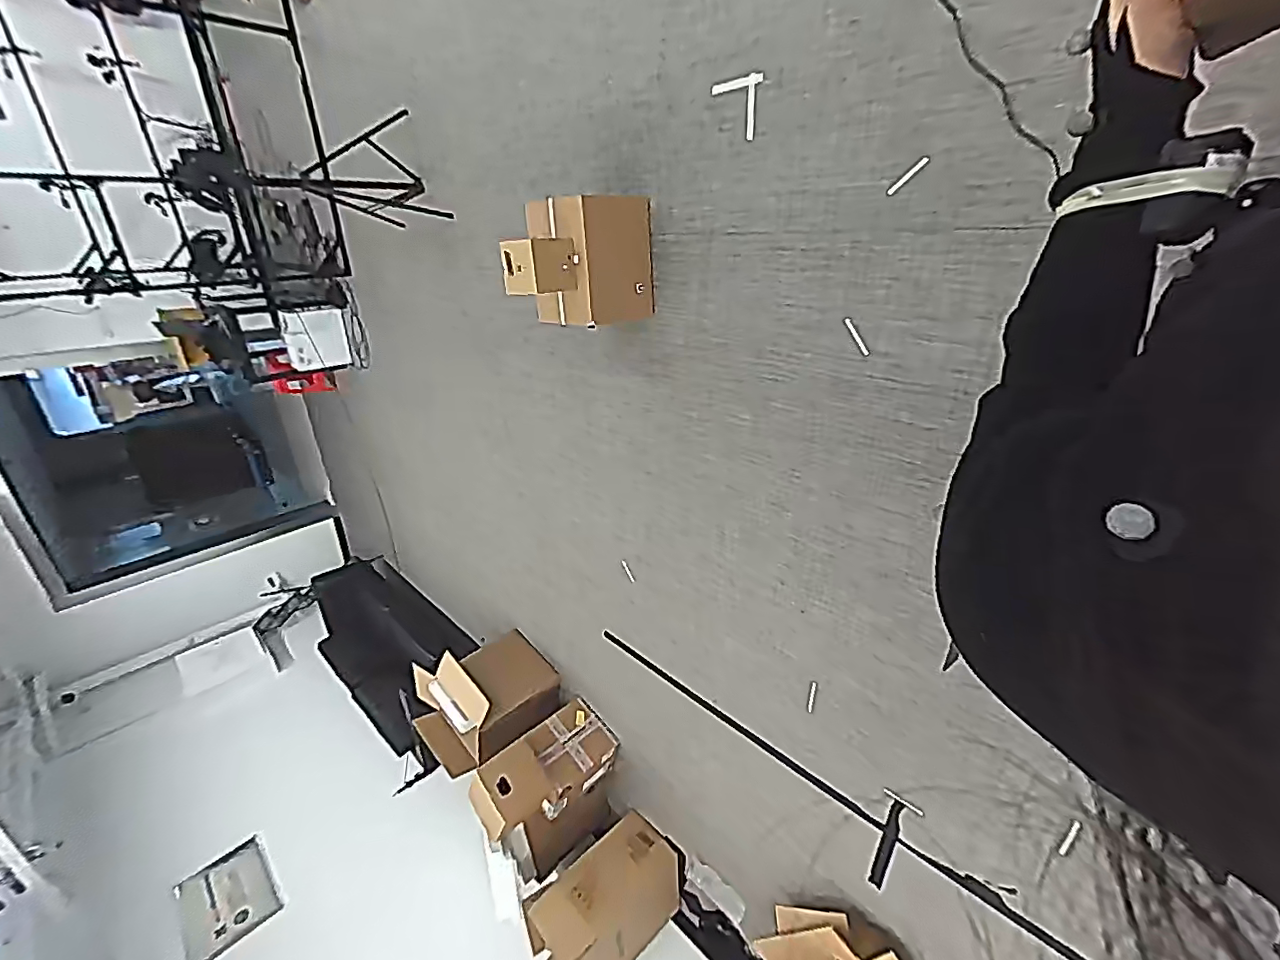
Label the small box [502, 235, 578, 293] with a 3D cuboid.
[{"bbox_3d":[-0.328,-0.714,1.784,0.179,0.176,0.168,18,122,41],"label":"small box"}]

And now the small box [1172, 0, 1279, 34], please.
[{"bbox_3d":[0.364,-0.365,0.261,0.168,0.176,0.179,-10,97,51],"label":"small box"}]
